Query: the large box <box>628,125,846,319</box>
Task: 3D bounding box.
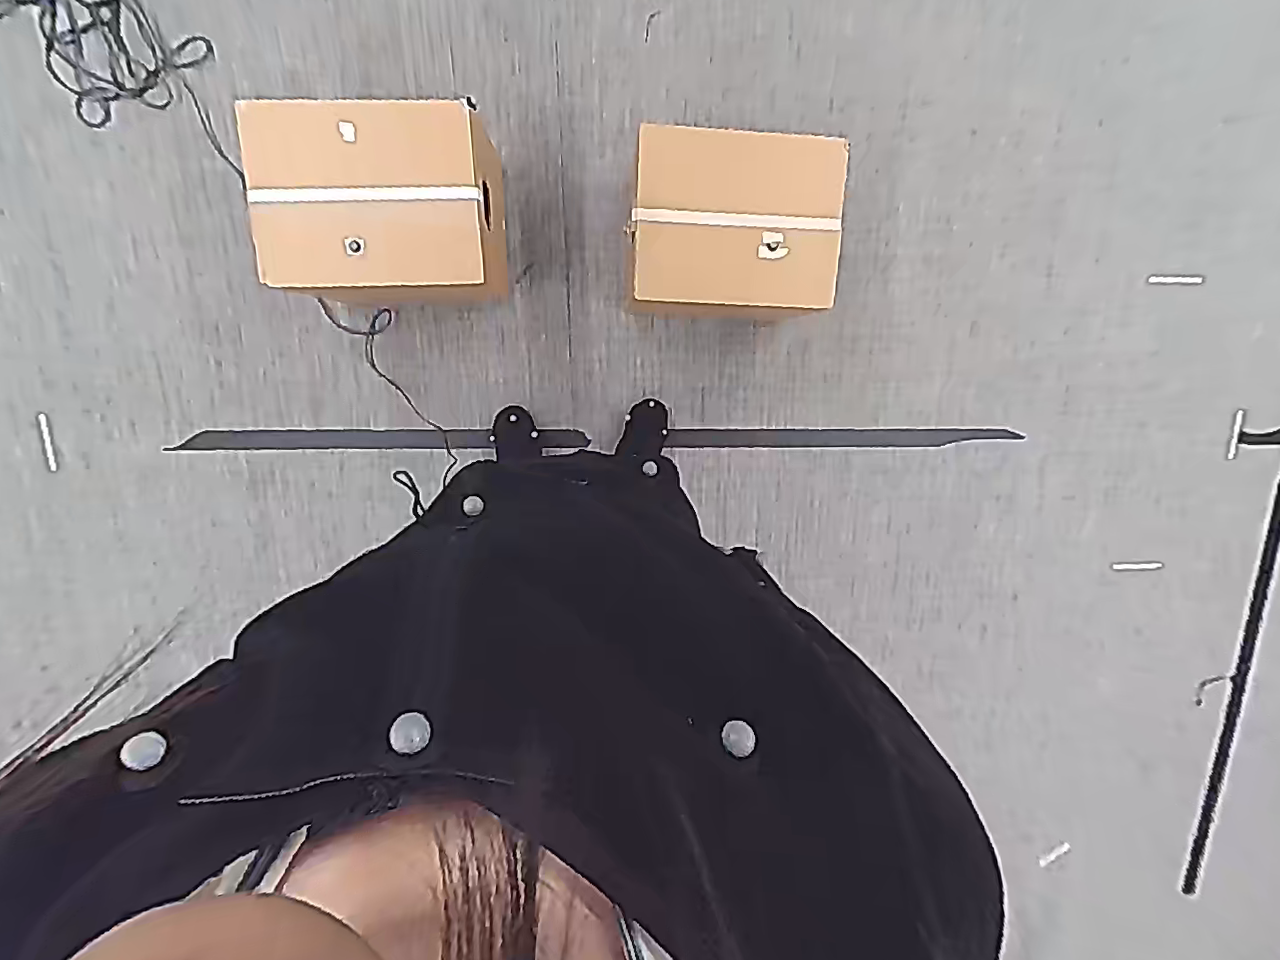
[{"bbox_3d":[0.182,-0.535,1.195,0.408,0.320,0.320,1,102,-6],"label":"large box"}]
